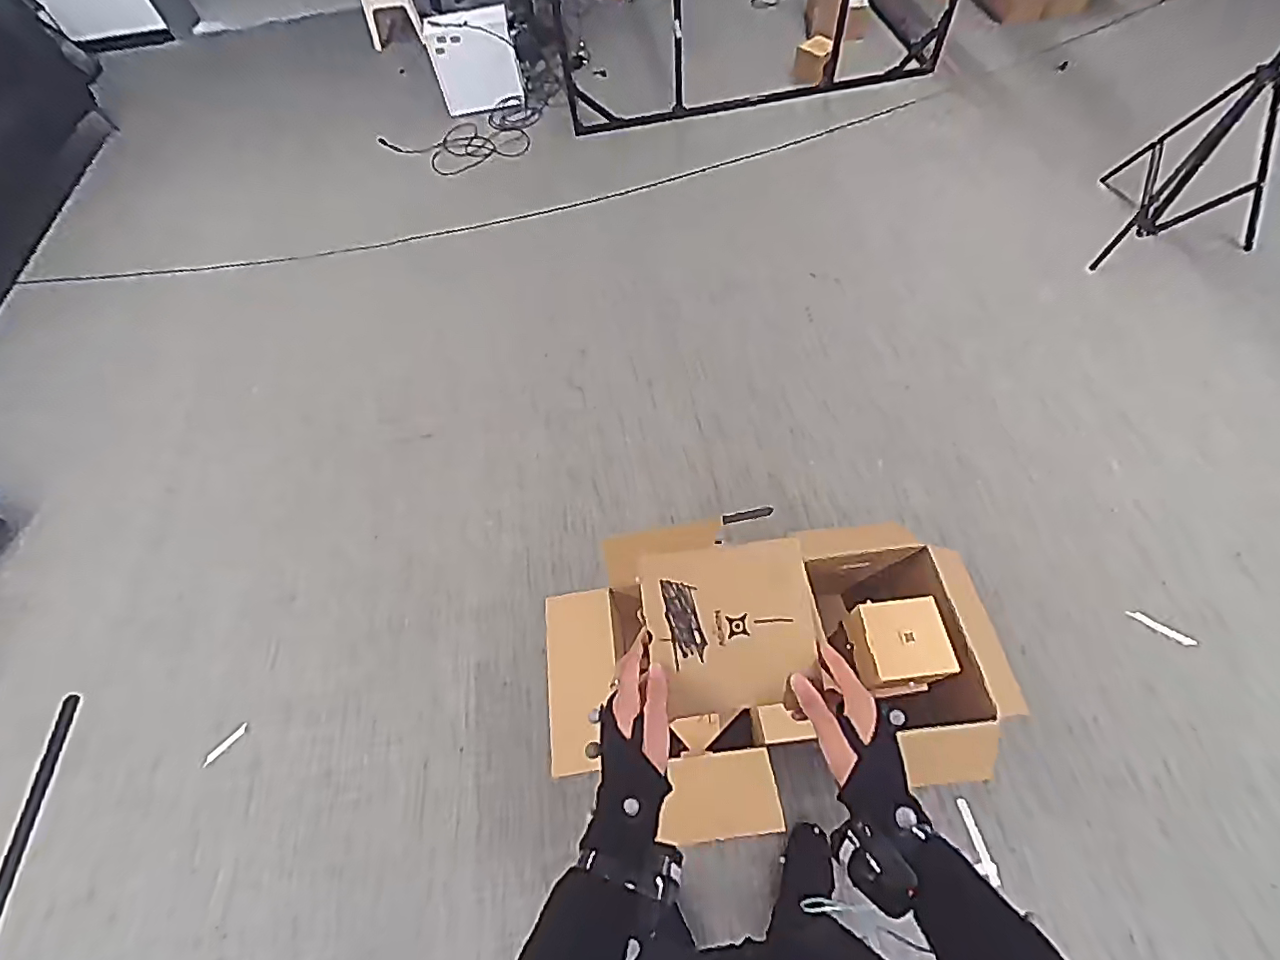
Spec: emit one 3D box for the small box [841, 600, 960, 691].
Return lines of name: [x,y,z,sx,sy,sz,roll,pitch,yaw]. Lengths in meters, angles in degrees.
small box: [0.591,0.386,1.251,0.179,0.176,0.168,-8,62,1]

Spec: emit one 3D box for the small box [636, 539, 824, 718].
small box: [0.096,0.163,0.635,0.179,0.176,0.168,-8,82,2]
